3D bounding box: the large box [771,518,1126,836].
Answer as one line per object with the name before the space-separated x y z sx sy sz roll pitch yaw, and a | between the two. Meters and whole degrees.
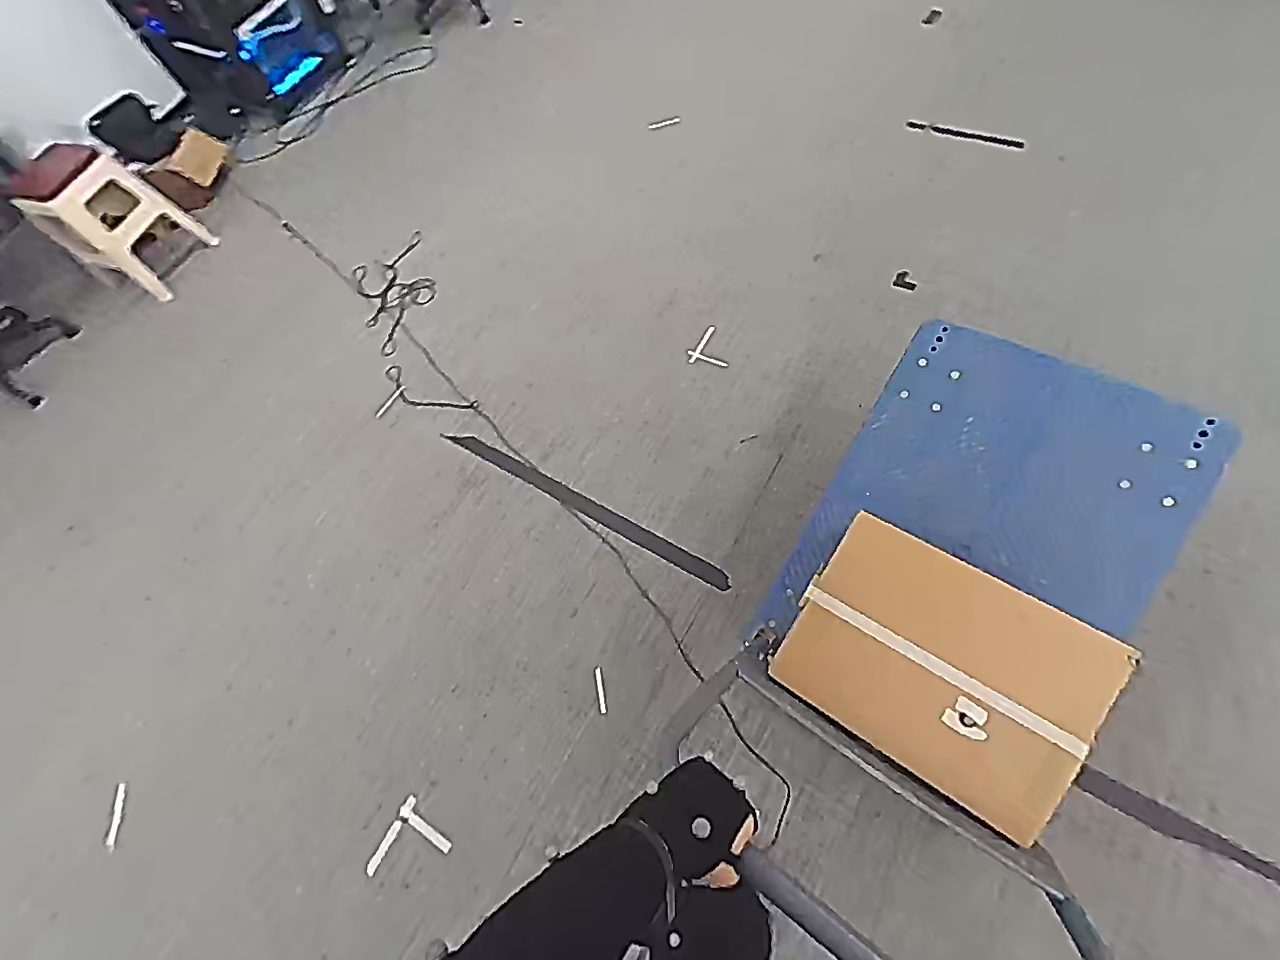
large box | 0.497 0.309 0.968 0.408 0.320 0.320 30 91 22
